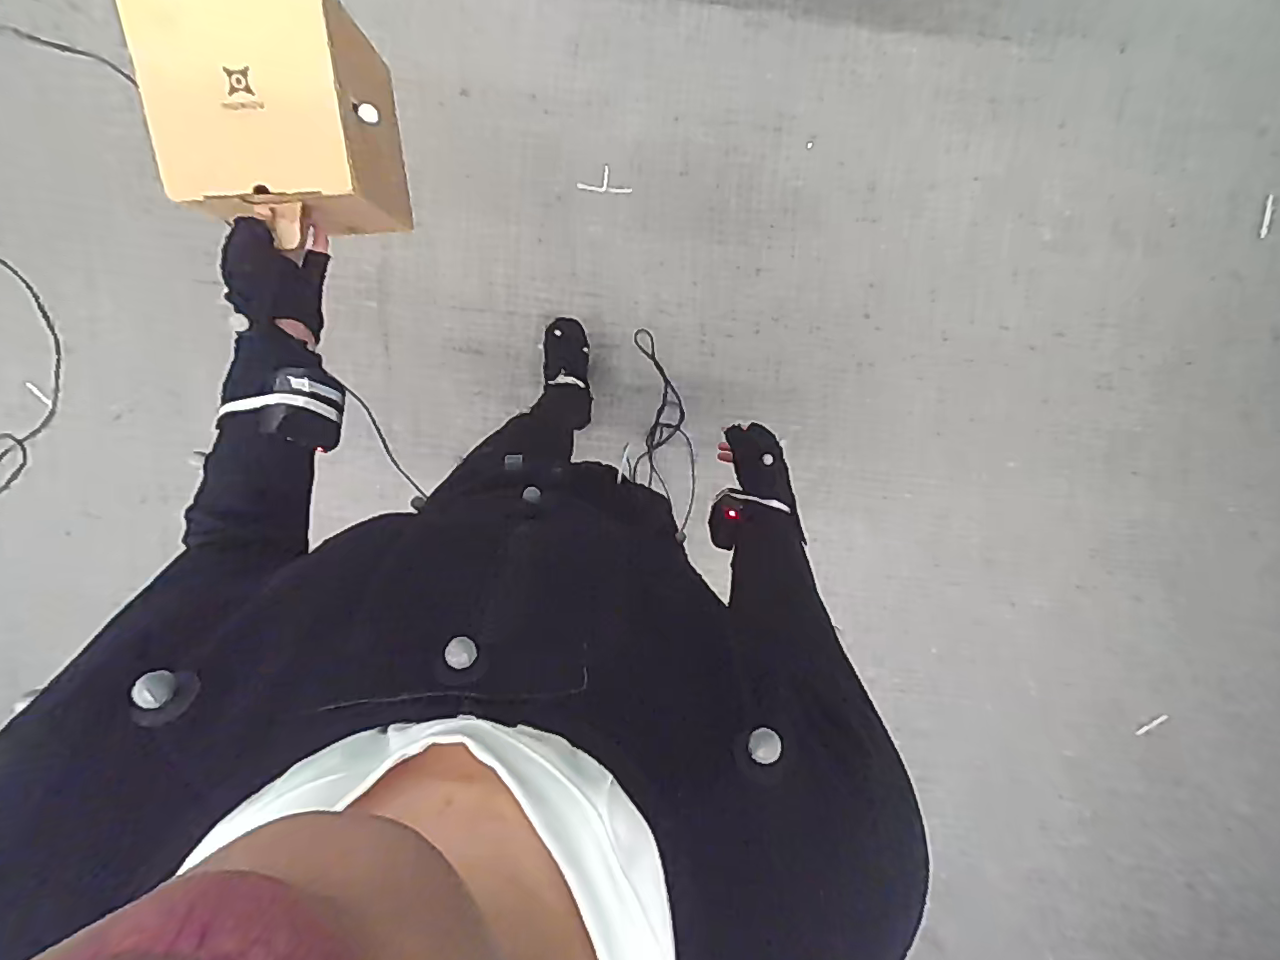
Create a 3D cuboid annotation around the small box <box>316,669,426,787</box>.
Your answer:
[{"bbox_3d":[-0.614,0.566,1.252,0.168,0.176,0.179,9,95,-1],"label":"small box"}]

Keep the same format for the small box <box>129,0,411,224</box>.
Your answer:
[{"bbox_3d":[-0.349,-0.372,0.546,0.168,0.176,0.179,-4,106,-4],"label":"small box"}]

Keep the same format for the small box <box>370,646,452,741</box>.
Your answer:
[{"bbox_3d":[-0.609,0.551,1.416,0.179,0.176,0.168,9,95,-1],"label":"small box"}]
